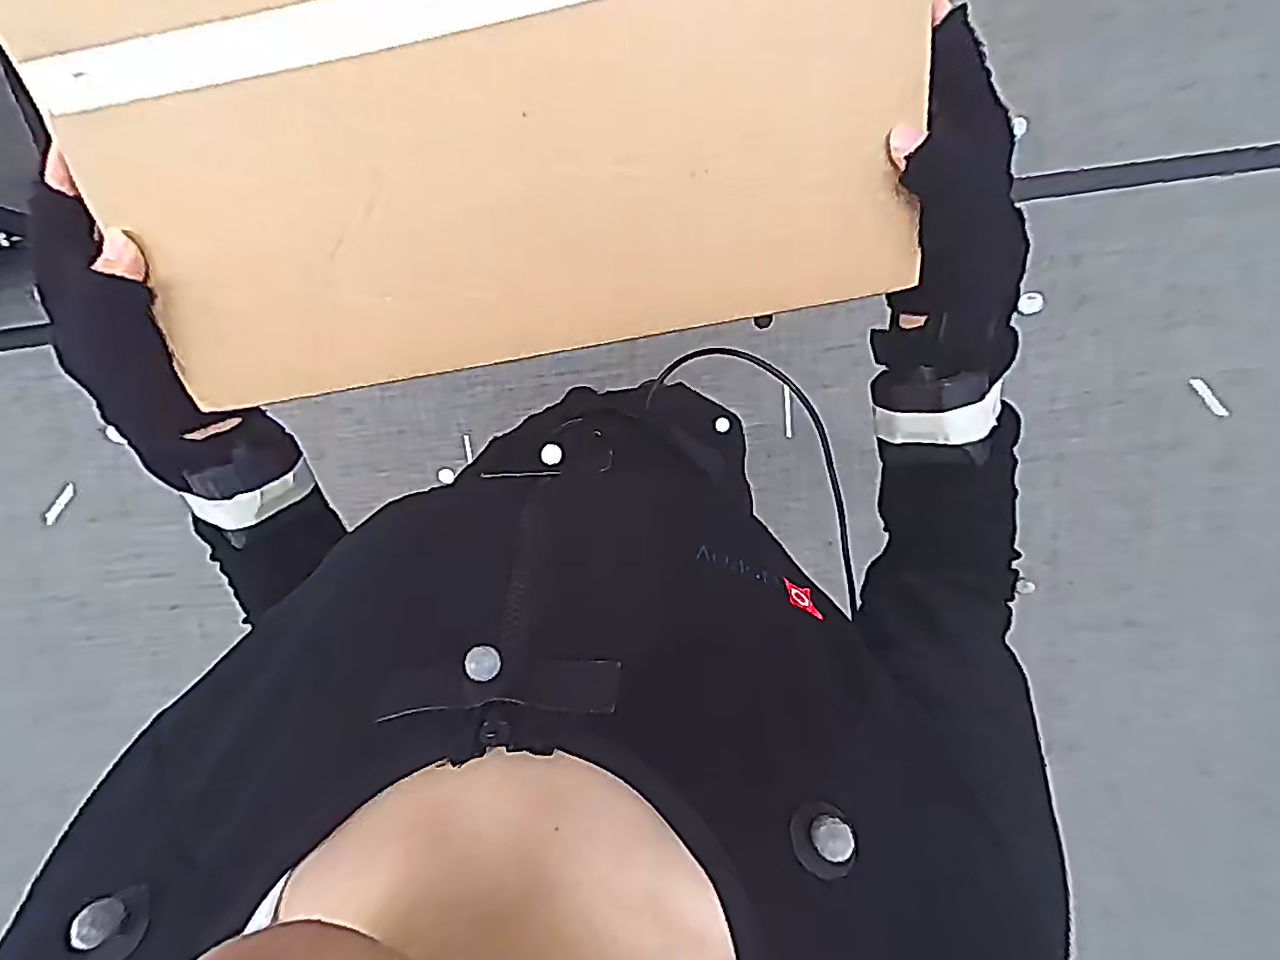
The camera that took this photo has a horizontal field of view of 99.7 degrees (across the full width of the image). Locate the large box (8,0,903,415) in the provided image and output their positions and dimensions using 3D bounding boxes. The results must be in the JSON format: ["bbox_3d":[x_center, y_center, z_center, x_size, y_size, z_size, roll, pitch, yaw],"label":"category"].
[{"bbox_3d":[-0.079,-0.271,0.383,0.408,0.320,0.320,-9,114,4],"label":"large box"}]
